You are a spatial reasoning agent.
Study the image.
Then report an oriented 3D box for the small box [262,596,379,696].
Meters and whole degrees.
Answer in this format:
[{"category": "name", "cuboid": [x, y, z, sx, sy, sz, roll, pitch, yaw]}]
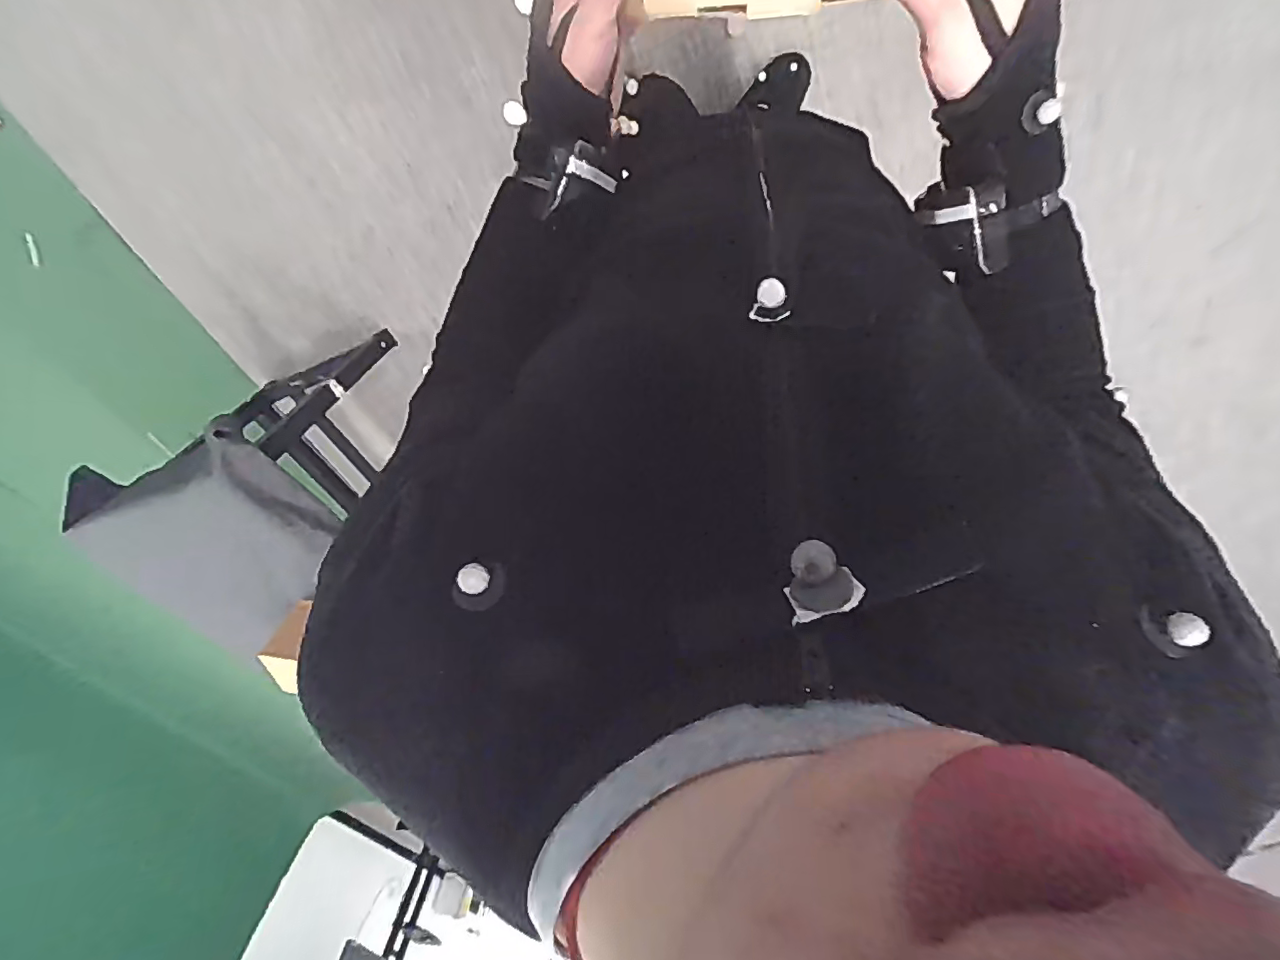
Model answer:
[{"category": "small box", "cuboid": [-0.783, 0.411, 1.355, 0.179, 0.176, 0.168, 8, 130, 6]}]
